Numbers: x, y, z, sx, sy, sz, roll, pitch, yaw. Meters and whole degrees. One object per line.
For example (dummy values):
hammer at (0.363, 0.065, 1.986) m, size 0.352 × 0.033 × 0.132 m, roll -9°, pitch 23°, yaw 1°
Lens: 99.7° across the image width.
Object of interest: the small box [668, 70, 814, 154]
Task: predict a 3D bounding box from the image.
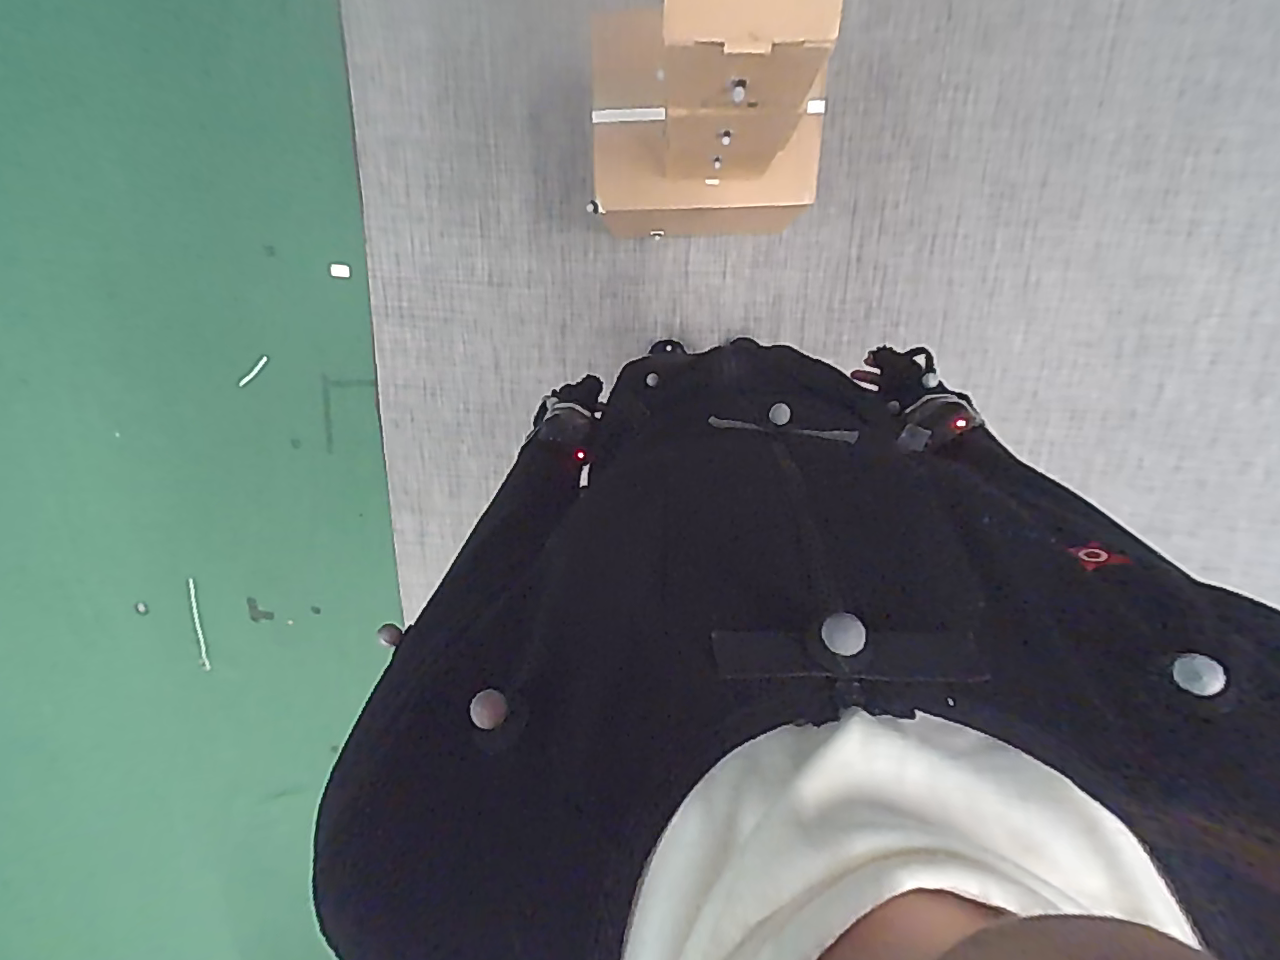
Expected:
small box at (0.126, -0.554, 0.722) m, size 0.179 × 0.176 × 0.168 m, roll -2°, pitch 107°, yaw 4°

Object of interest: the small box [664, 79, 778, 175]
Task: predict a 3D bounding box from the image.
small box at (0.131, -0.606, 0.877) m, size 0.179 × 0.176 × 0.168 m, roll 2°, pitch 107°, yaw 3°

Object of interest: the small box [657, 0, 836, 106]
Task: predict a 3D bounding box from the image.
small box at (0.112, -0.517, 0.562) m, size 0.168 × 0.176 × 0.179 m, roll 5°, pitch 108°, yaw 4°
